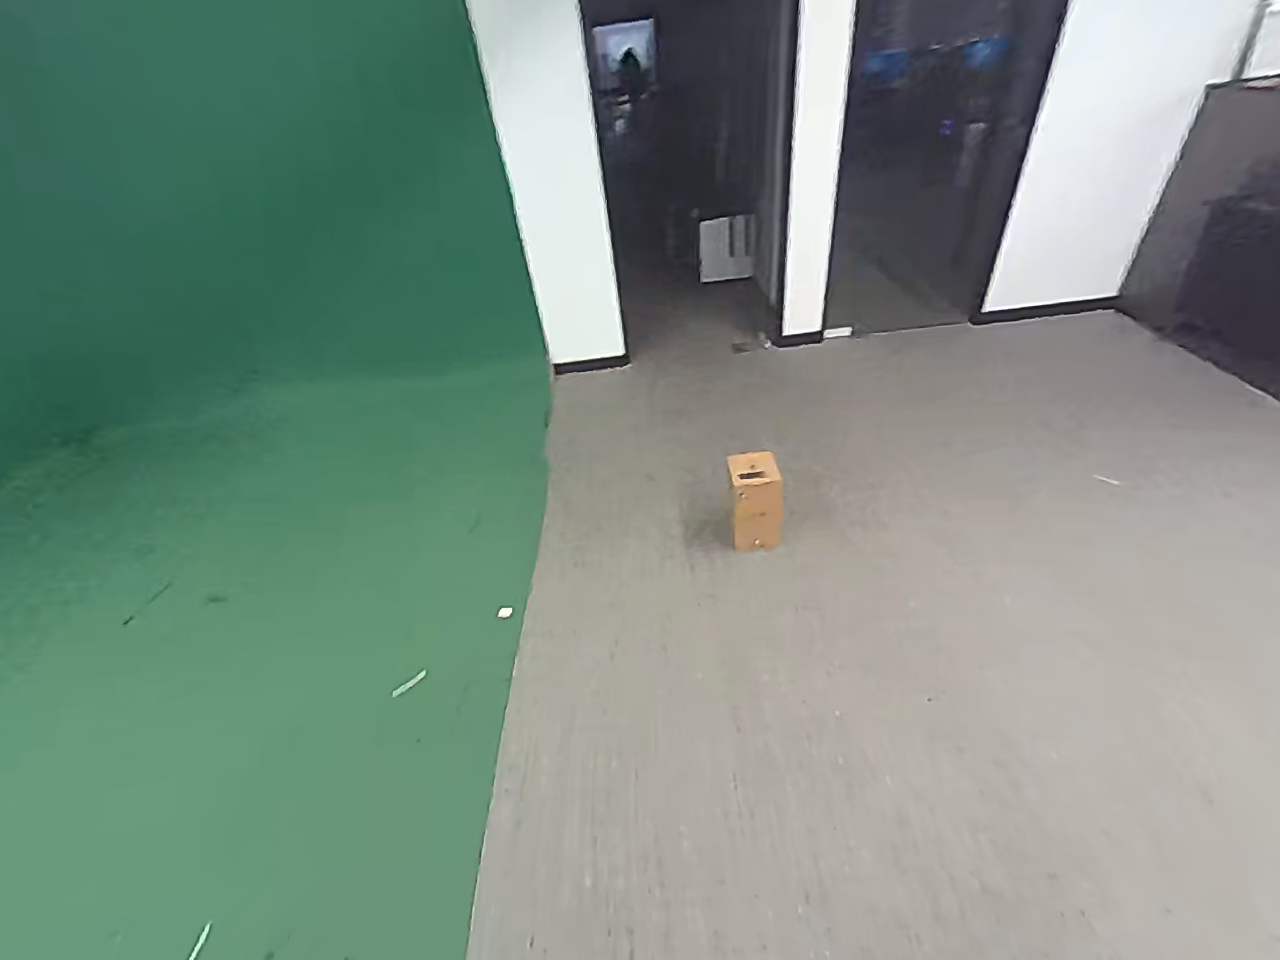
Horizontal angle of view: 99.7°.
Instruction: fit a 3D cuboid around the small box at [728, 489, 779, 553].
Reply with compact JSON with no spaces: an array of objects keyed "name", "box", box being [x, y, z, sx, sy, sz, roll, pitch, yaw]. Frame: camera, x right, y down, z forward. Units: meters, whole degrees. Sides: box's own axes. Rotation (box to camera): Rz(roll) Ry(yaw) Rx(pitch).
[{"name":"small box","box":[0.426,0.157,2.063,0.168,0.176,0.179,-6,39,3]}]
